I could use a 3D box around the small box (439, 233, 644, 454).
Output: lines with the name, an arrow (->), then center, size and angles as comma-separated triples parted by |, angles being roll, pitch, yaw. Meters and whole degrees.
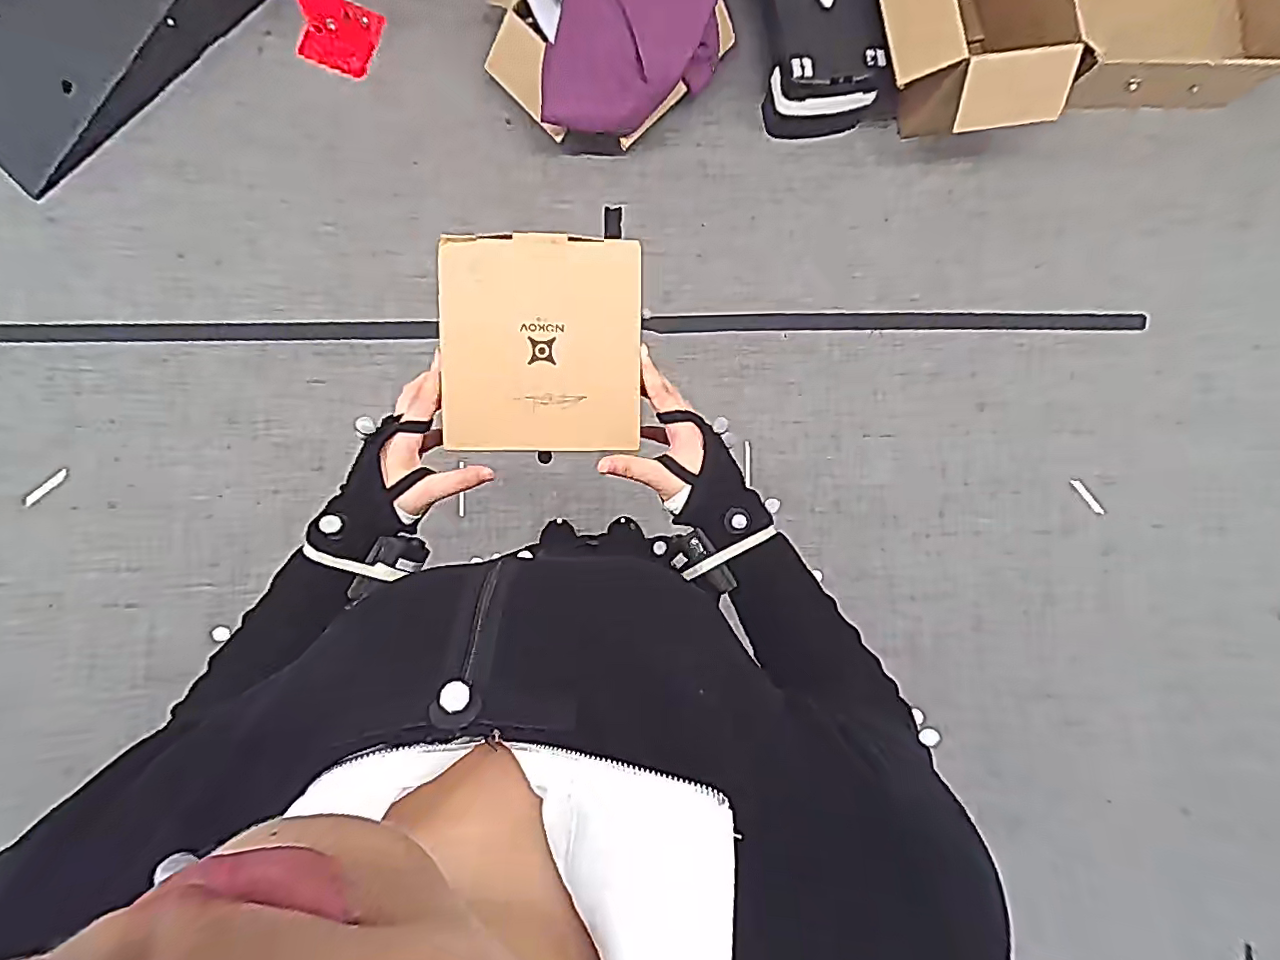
small box -> -0.086, -0.116, 0.520 | 0.168, 0.176, 0.179 | 0, 95, -3
